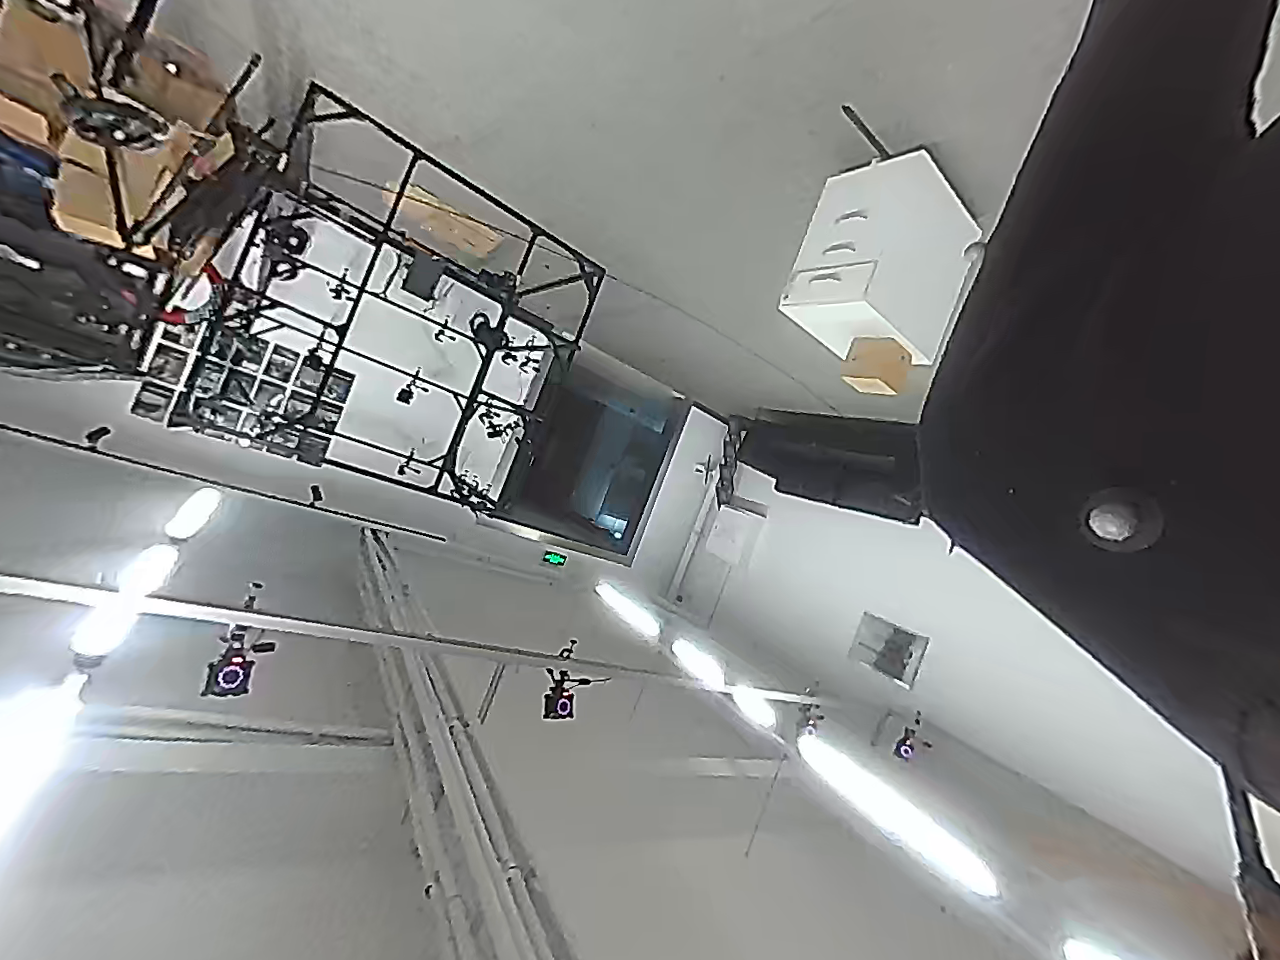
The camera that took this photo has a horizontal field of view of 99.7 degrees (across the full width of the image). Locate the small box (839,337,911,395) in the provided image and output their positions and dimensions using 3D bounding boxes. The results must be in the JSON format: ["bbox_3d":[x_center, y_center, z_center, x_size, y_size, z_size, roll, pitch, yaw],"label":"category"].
[{"bbox_3d":[0.918,-0.450,2.108,0.168,0.176,0.179,21,180,-37],"label":"small box"}]
